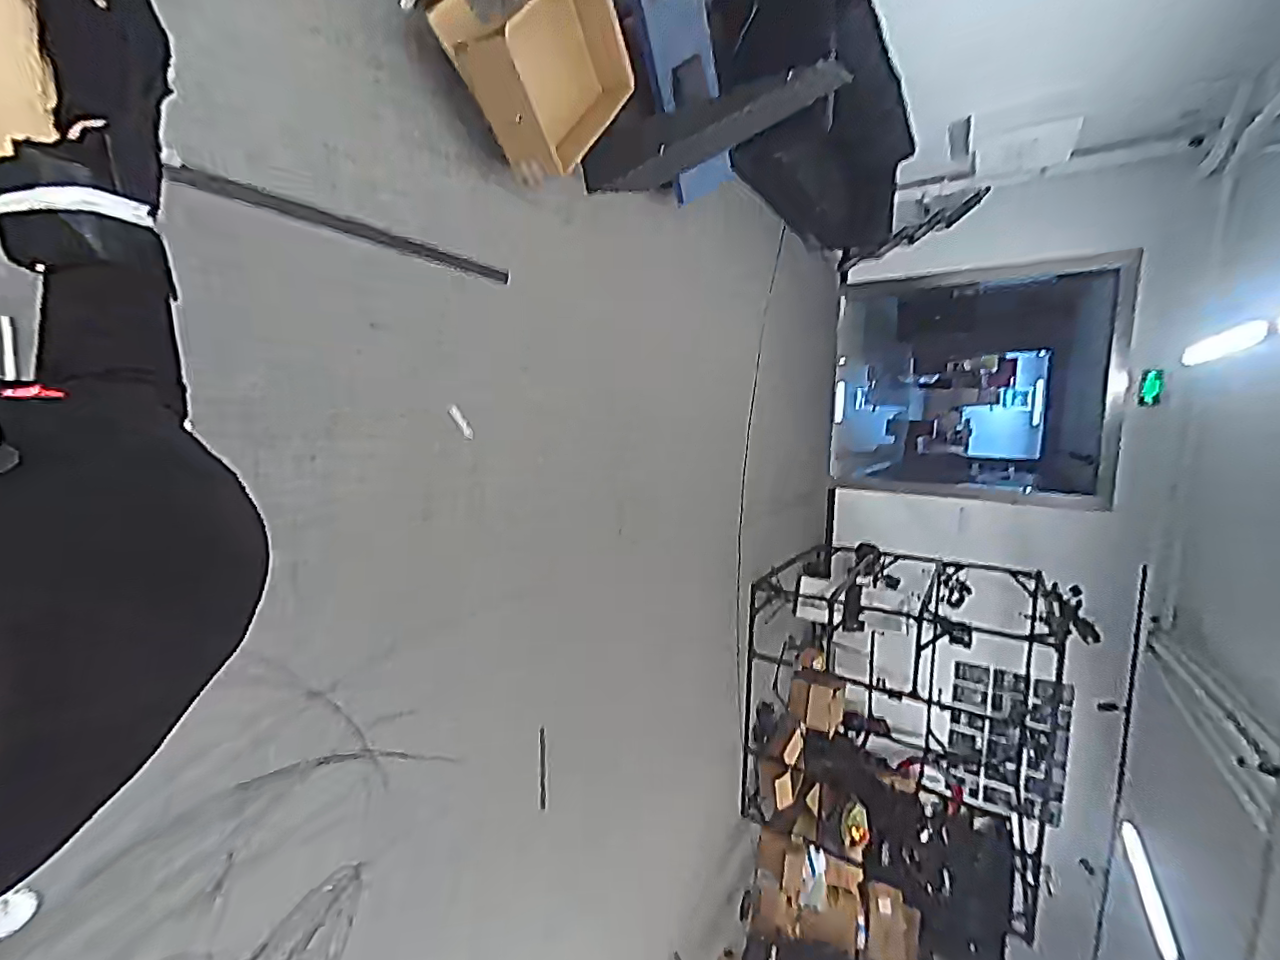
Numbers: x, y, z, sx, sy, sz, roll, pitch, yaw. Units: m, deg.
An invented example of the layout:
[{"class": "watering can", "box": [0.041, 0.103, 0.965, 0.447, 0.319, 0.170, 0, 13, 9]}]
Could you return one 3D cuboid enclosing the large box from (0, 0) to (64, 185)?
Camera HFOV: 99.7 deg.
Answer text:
[{"class": "large box", "box": [-0.619, -0.362, 0.248, 0.408, 0.320, 0.320, -14, 114, -61]}]
